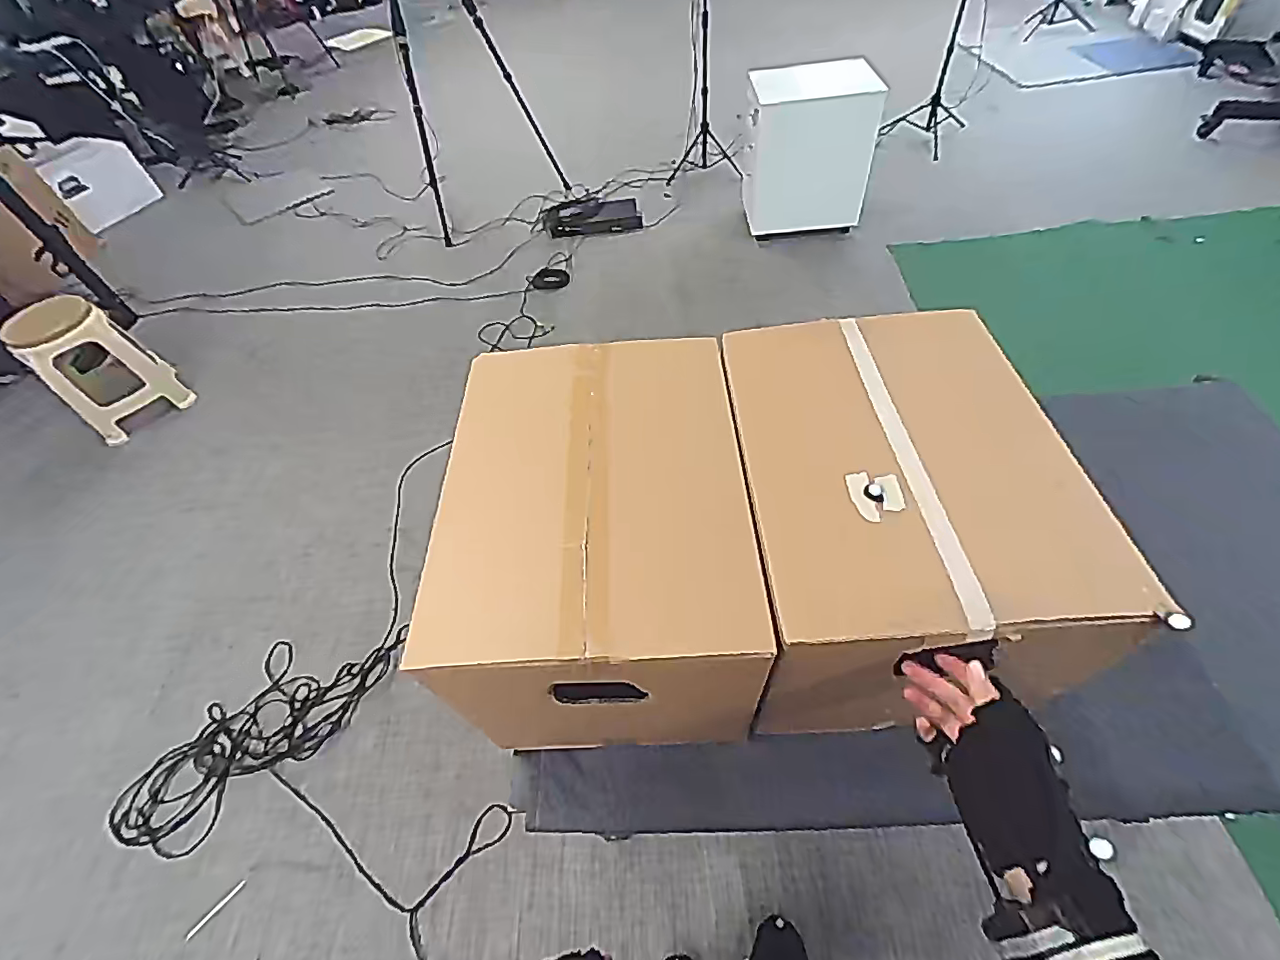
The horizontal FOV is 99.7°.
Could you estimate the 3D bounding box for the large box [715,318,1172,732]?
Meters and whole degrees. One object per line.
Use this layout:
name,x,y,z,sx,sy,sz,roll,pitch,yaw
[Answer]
large box,0.274,0.058,0.671,0.320,0.320,0.408,-5,53,3
